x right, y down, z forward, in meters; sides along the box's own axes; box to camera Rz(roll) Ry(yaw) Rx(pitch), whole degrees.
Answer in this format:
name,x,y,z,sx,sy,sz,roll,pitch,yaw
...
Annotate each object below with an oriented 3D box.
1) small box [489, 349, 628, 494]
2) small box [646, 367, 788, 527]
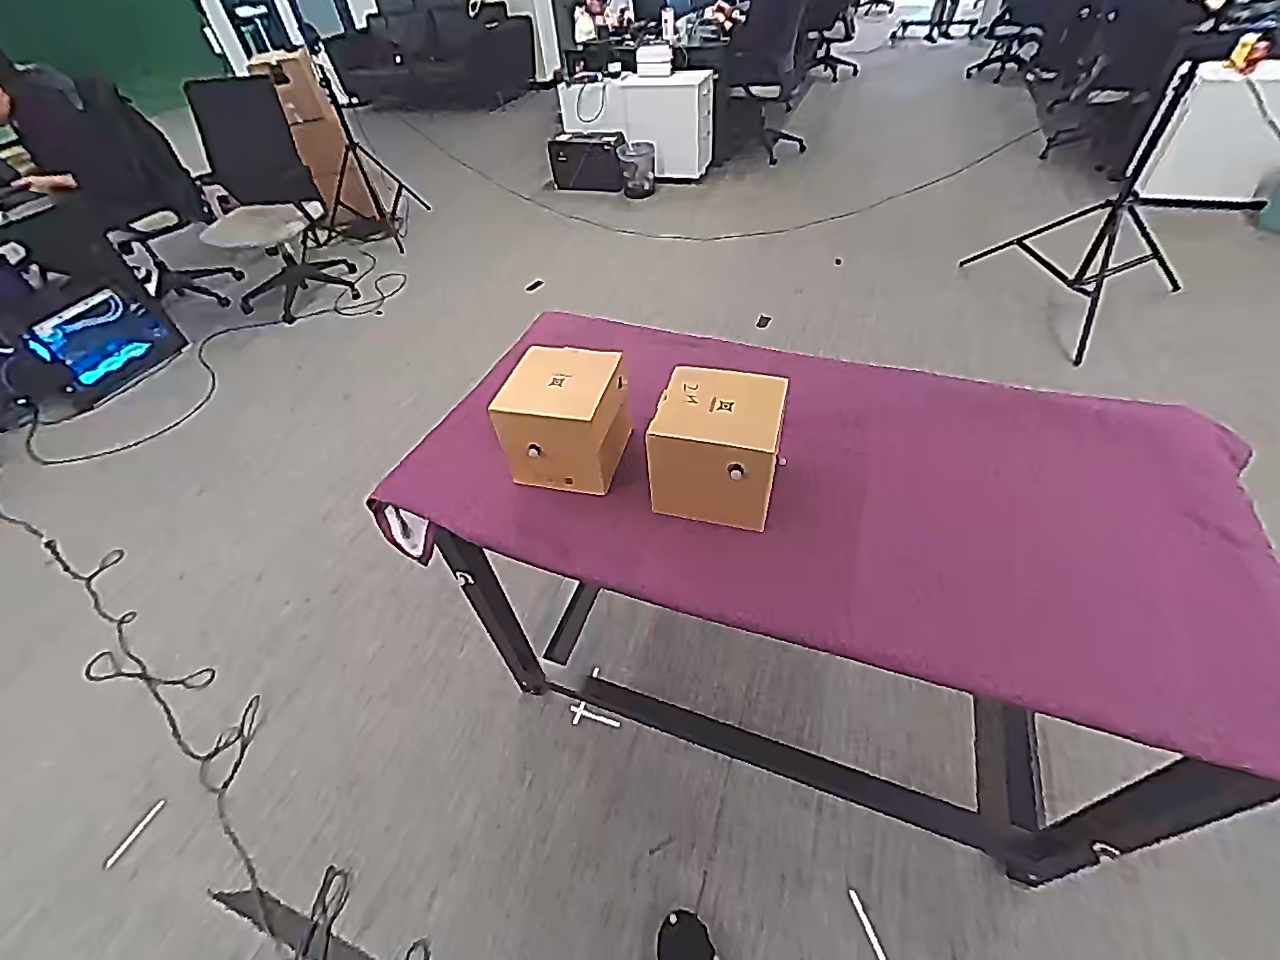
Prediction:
name,x,y,z,sx,sy,sz,roll,pitch,yaw
small box,-0.122,-0.096,0.903,0.168,0.176,0.179,7,47,13
small box,0.118,-0.048,0.827,0.179,0.176,0.168,9,47,14
